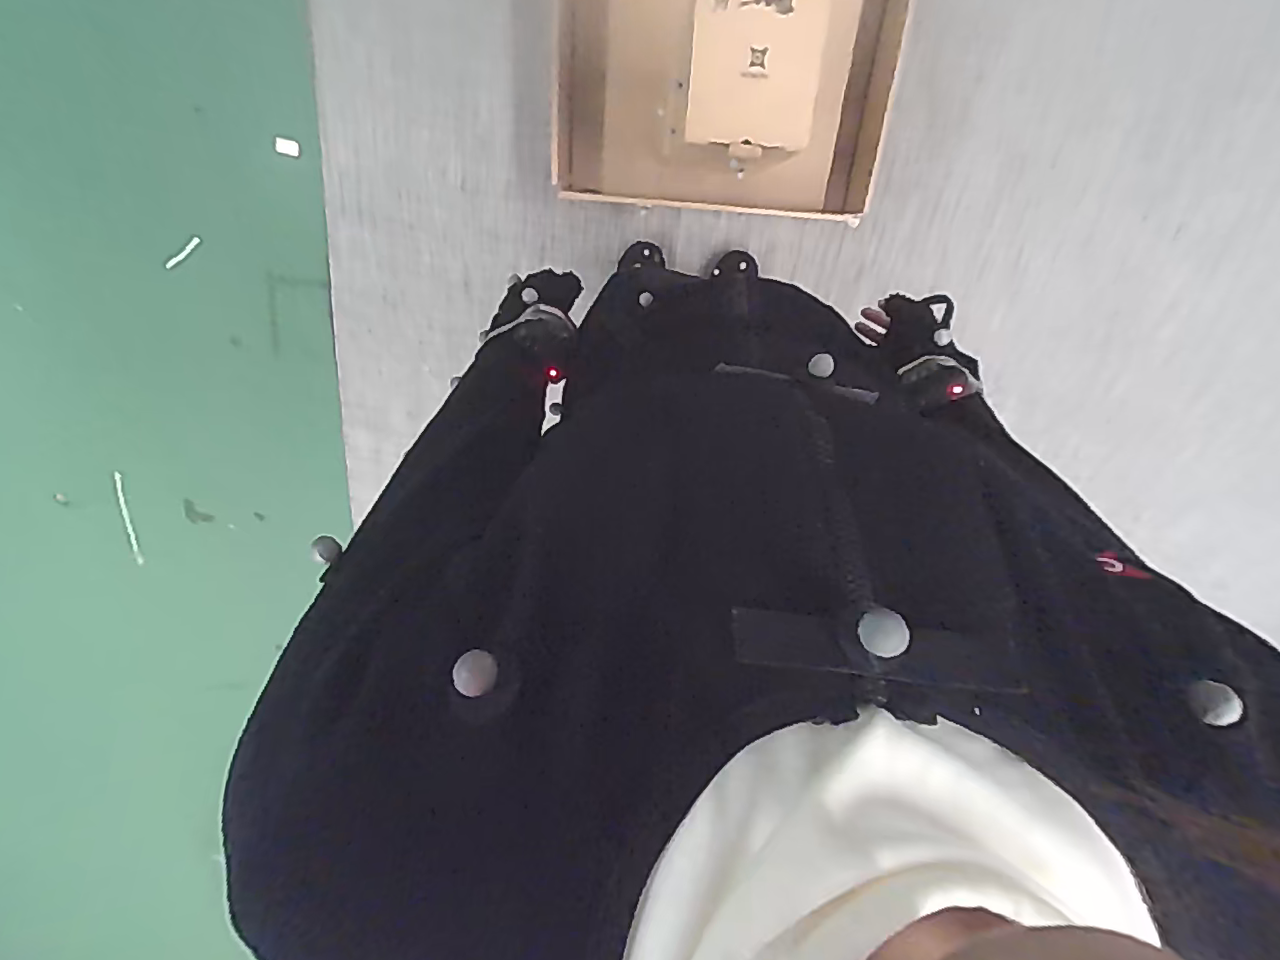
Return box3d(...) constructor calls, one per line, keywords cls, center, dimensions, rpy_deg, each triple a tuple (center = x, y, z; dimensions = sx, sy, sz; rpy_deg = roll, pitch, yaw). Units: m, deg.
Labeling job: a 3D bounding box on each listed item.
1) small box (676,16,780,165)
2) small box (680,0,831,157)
box3d(cls="small box", center=(0.147, -0.623, 0.886), dimensions=(0.168, 0.176, 0.179), rpy_deg=(1, 116, 1))
box3d(cls="small box", center=(0.147, -0.561, 0.752), dimensions=(0.168, 0.176, 0.179), rpy_deg=(4, 116, -1))
